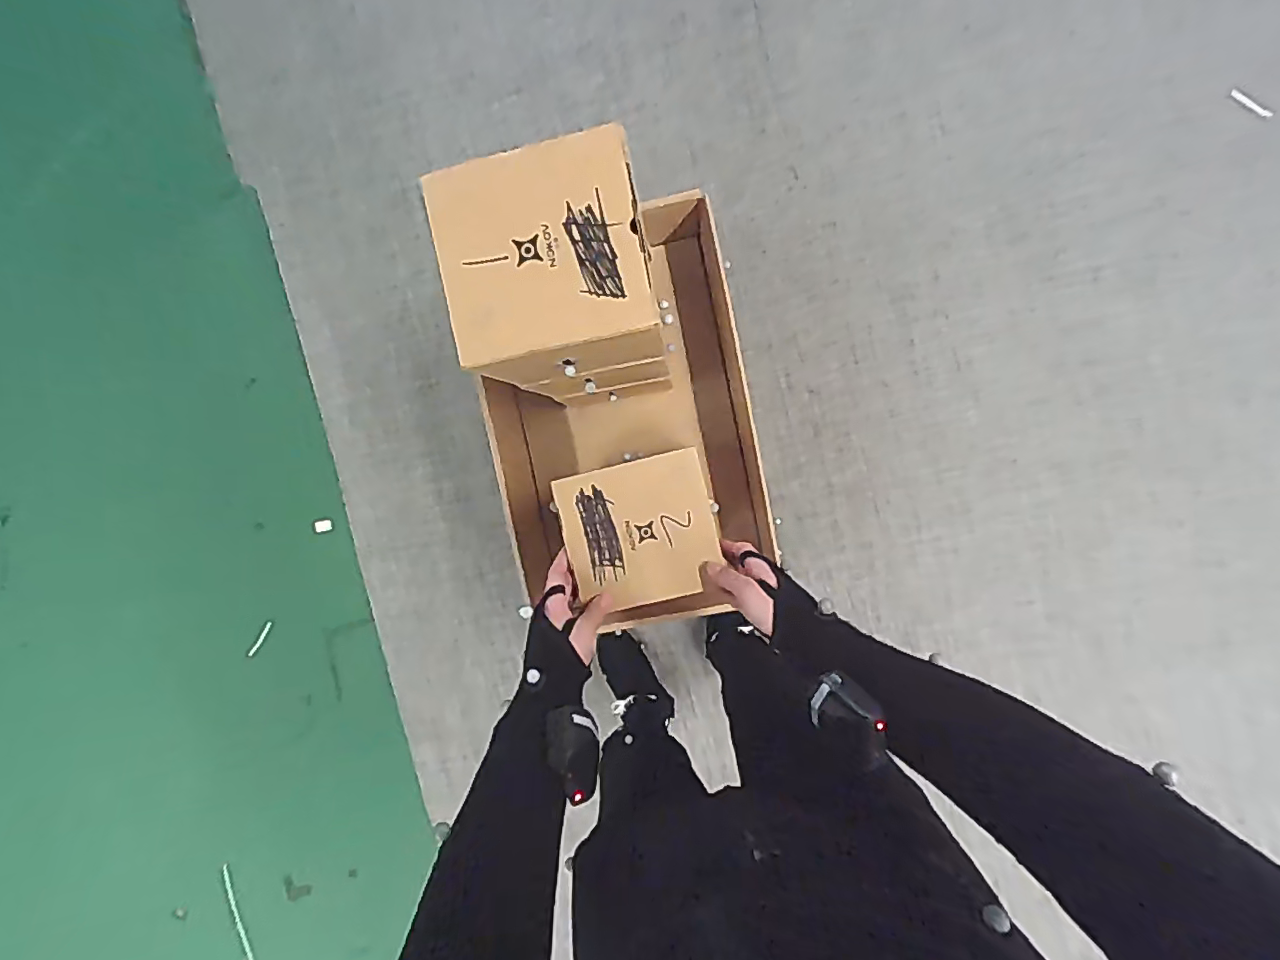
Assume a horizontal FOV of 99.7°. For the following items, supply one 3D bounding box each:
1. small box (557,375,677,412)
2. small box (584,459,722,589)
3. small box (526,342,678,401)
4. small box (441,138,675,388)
[{"bbox_3d":[-0.038,-0.204,0.857,0.179,0.176,0.168,-8,92,4],"label":"small box"},{"bbox_3d":[0.023,0.062,0.859,0.179,0.176,0.168,-12,90,5],"label":"small box"},{"bbox_3d":[-0.051,-0.199,0.694,0.179,0.176,0.168,-9,93,6],"label":"small box"},{"bbox_3d":[-0.063,-0.191,0.530,0.179,0.176,0.168,-10,93,6],"label":"small box"}]
